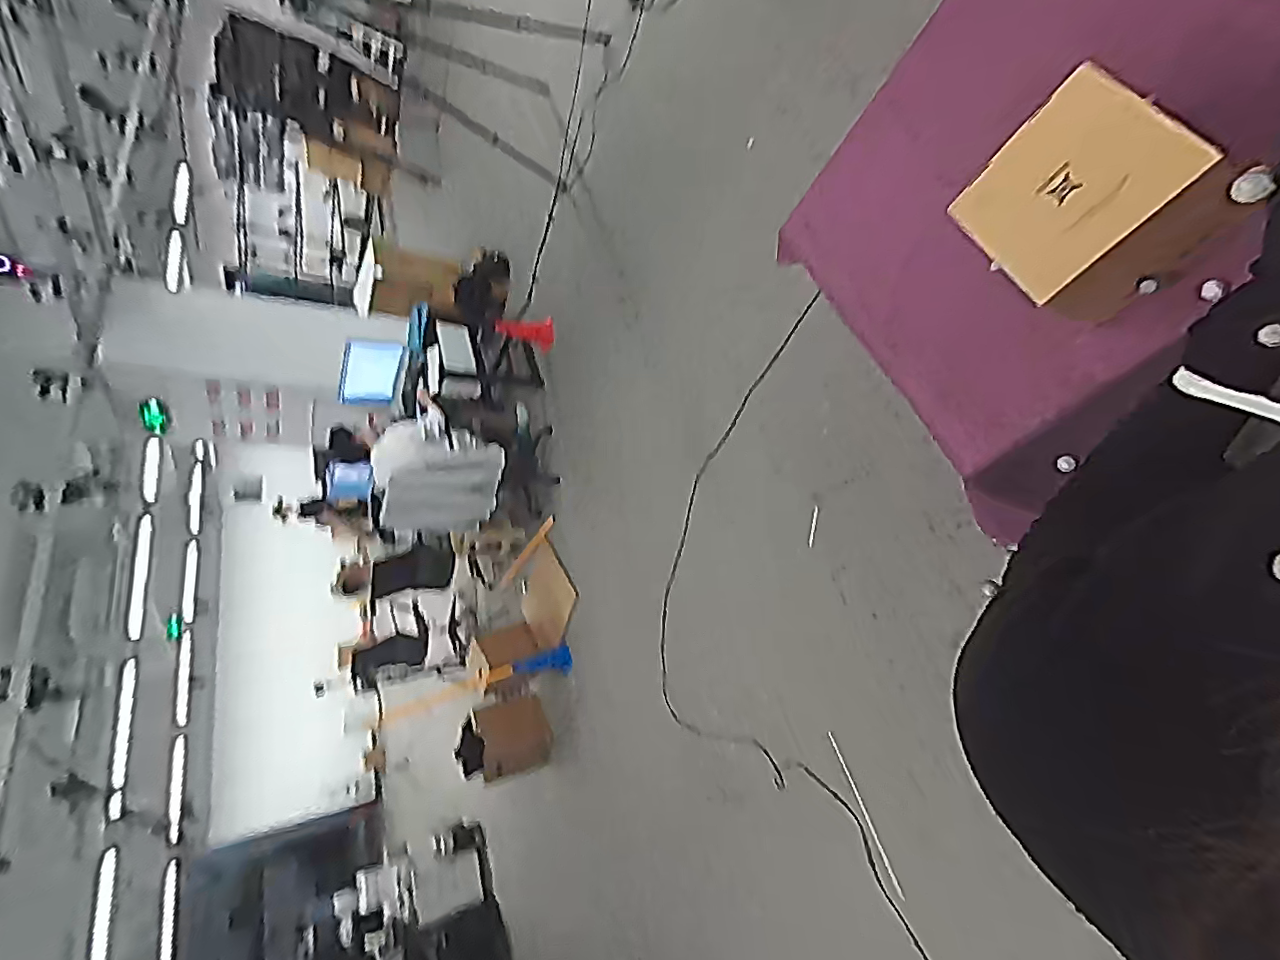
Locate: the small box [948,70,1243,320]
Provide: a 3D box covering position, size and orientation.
[{"bbox_3d":[0.504,-0.303,0.610,0.168,0.176,0.179,-51,51,44],"label":"small box"}]
